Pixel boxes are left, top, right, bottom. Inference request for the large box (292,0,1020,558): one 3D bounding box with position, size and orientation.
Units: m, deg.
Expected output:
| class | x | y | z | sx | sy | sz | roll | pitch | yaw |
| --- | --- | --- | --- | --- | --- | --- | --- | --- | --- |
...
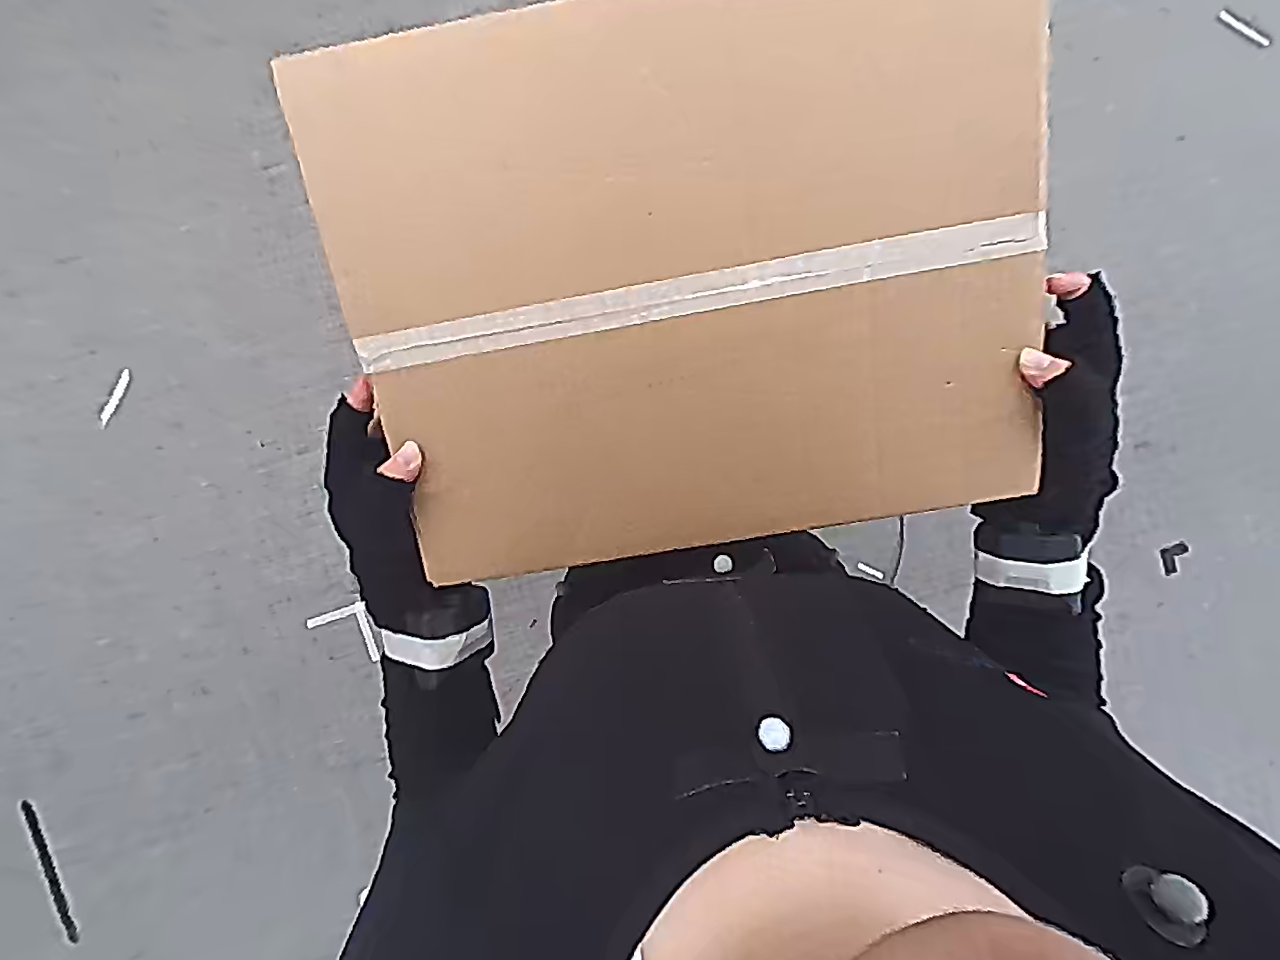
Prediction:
| class | x | y | z | sx | sy | sz | roll | pitch | yaw |
| --- | --- | --- | --- | --- | --- | --- | --- | --- | --- |
| large box | 0.024 | -0.161 | 0.471 | 0.408 | 0.320 | 0.320 | -9 | 106 | 3 |
